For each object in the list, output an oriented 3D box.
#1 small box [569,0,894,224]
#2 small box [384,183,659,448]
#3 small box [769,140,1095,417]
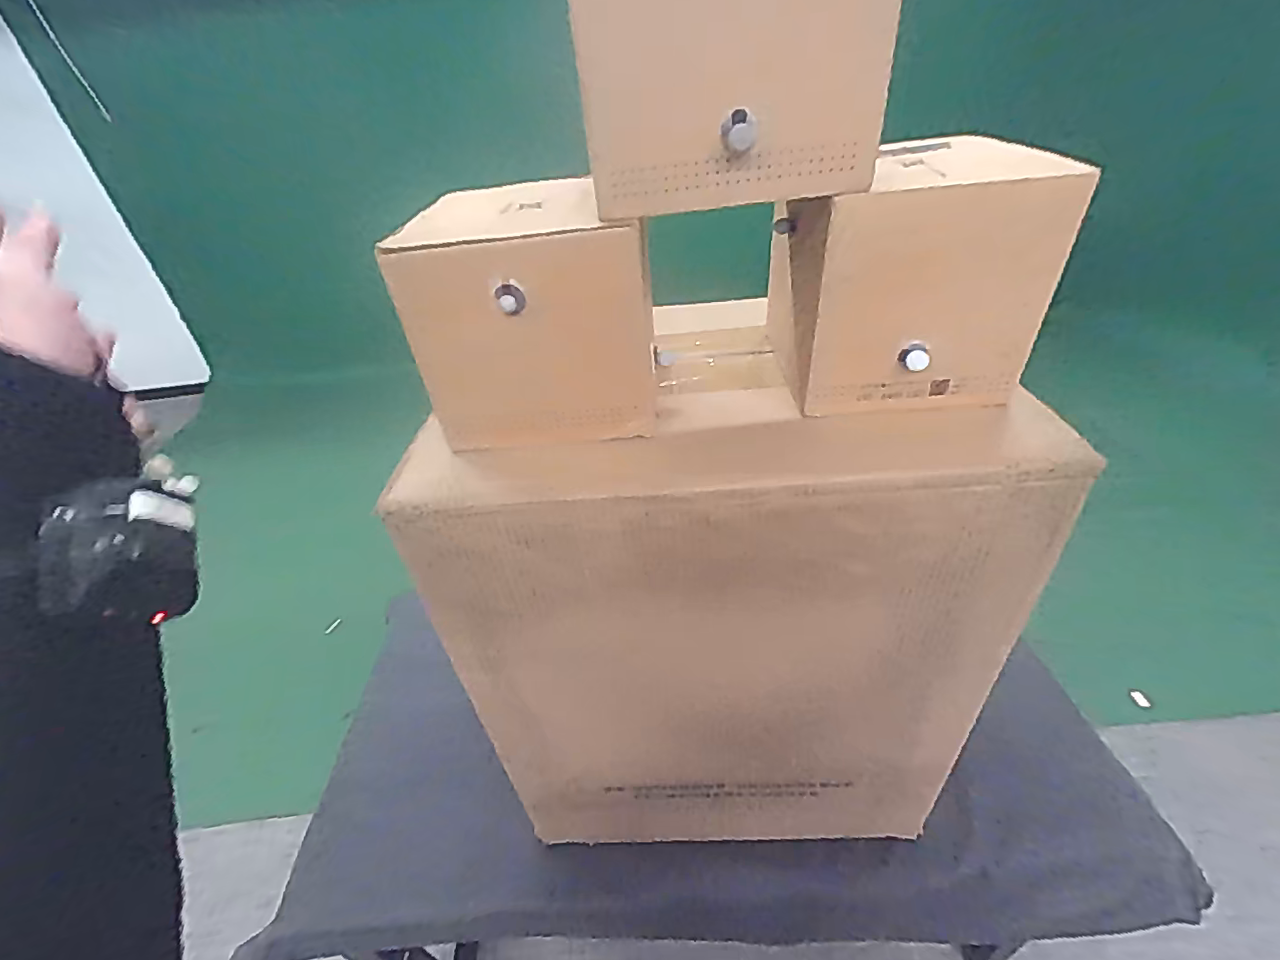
[{"bbox_3d":[0.048,-0.282,0.354,0.179,0.176,0.168,-6,39,0],"label":"small box"},{"bbox_3d":[-0.076,-0.139,0.459,0.179,0.176,0.168,-3,40,2],"label":"small box"},{"bbox_3d":[0.208,-0.170,0.454,0.168,0.176,0.179,-3,40,3],"label":"small box"}]
